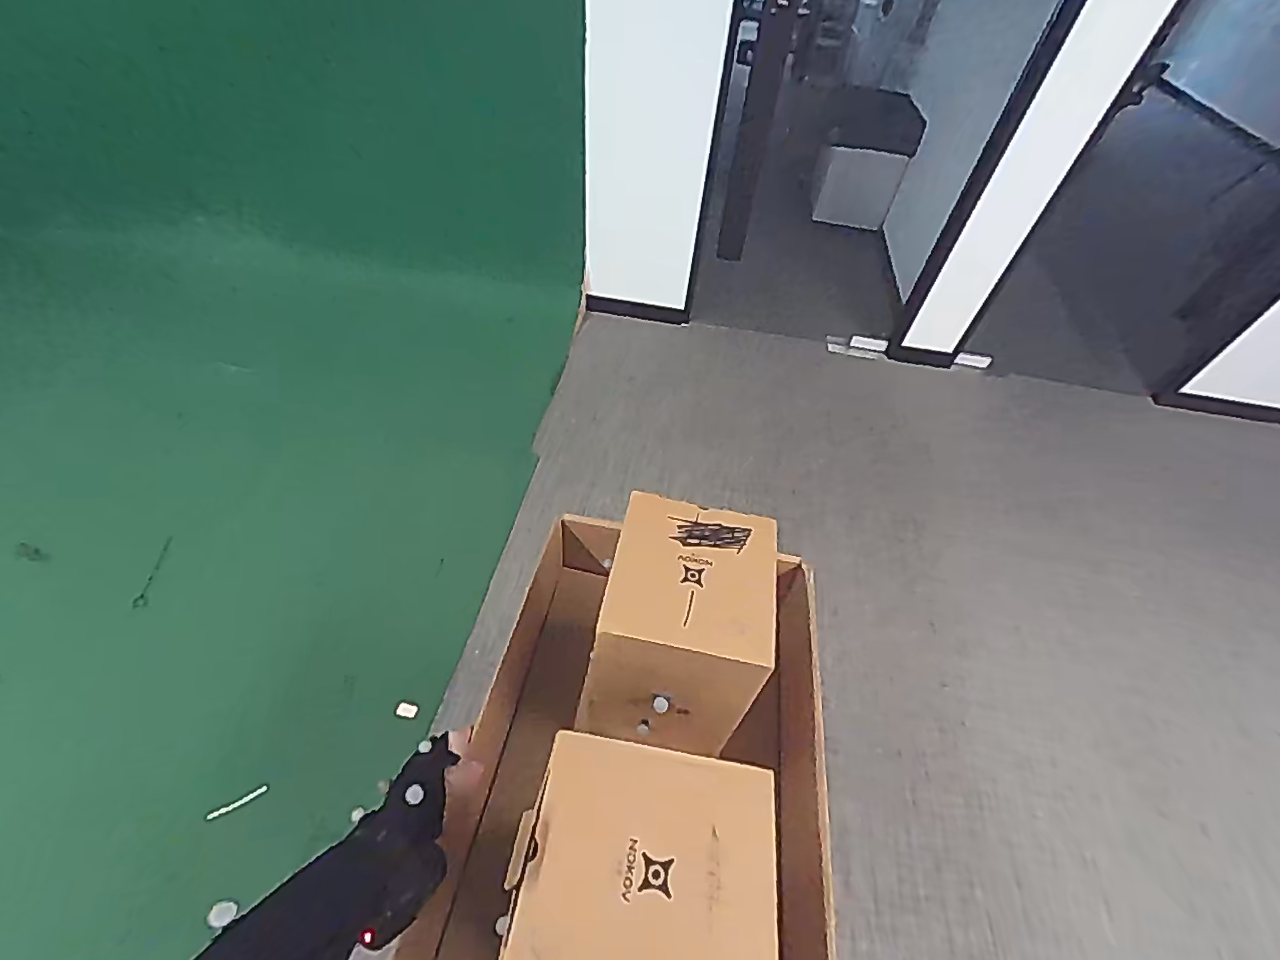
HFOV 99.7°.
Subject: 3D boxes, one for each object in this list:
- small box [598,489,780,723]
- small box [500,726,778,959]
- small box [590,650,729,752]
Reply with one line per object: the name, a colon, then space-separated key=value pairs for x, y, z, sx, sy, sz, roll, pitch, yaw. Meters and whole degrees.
small box: x=0.050 y=0.142 z=0.603 sx=0.168 sy=0.176 sz=0.179 roll=11 pitch=48 yaw=4
small box: x=0.002 y=0.323 z=0.431 sx=0.179 sy=0.176 sz=0.168 roll=10 pitch=46 yaw=2
small box: x=0.037 y=0.250 z=0.726 sx=0.179 sy=0.176 sz=0.168 roll=12 pitch=48 yaw=5
